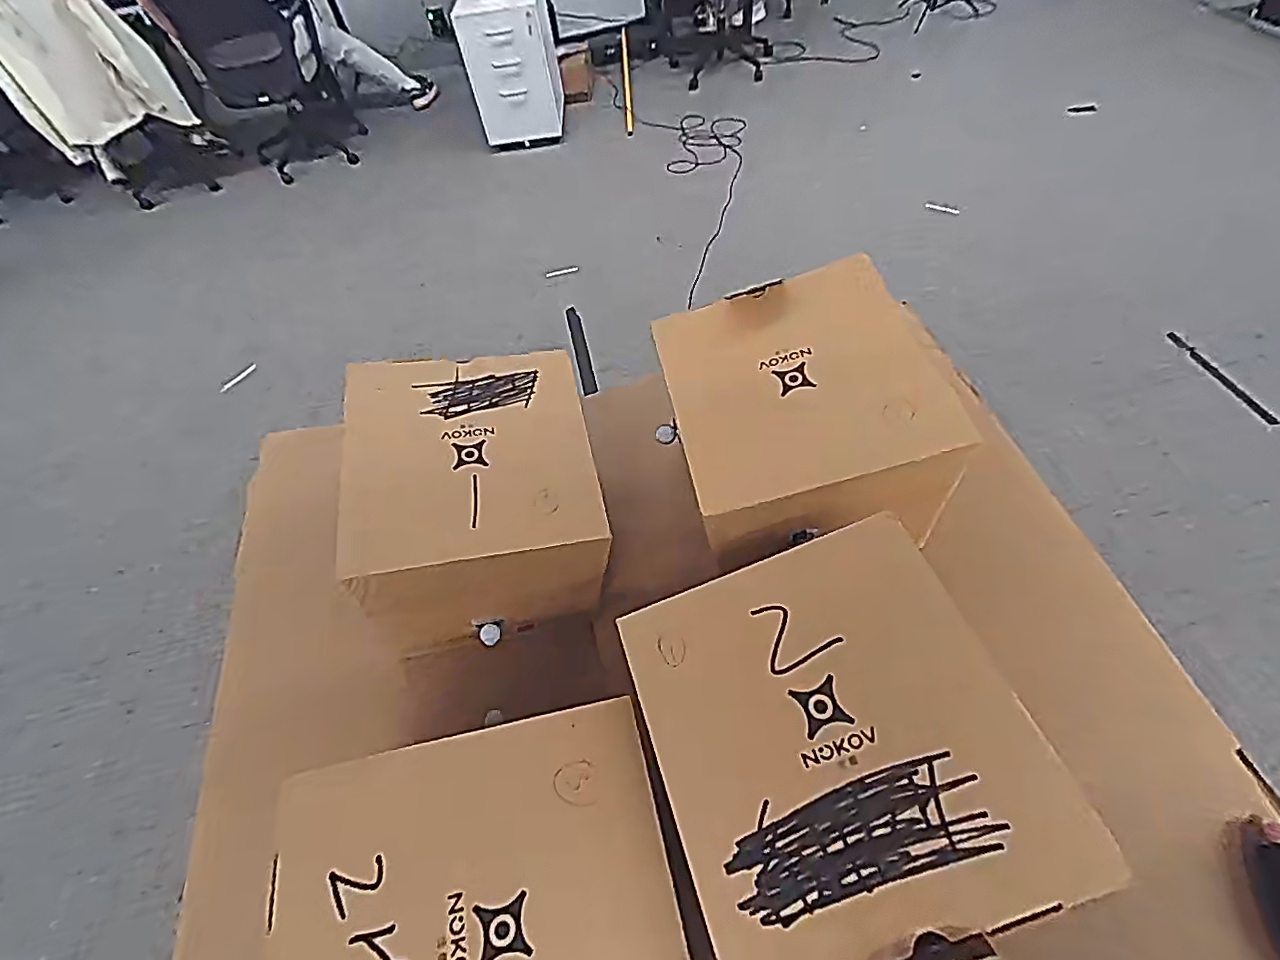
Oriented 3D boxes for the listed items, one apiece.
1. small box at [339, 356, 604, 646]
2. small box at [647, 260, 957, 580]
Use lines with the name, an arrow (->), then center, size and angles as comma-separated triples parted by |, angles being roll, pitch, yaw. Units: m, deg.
small box -> -0.130, 0.019, 0.452 | 0.168, 0.176, 0.179 | -6, 58, -12
small box -> 0.116, -0.033, 0.436 | 0.168, 0.176, 0.179 | -16, 57, 6
